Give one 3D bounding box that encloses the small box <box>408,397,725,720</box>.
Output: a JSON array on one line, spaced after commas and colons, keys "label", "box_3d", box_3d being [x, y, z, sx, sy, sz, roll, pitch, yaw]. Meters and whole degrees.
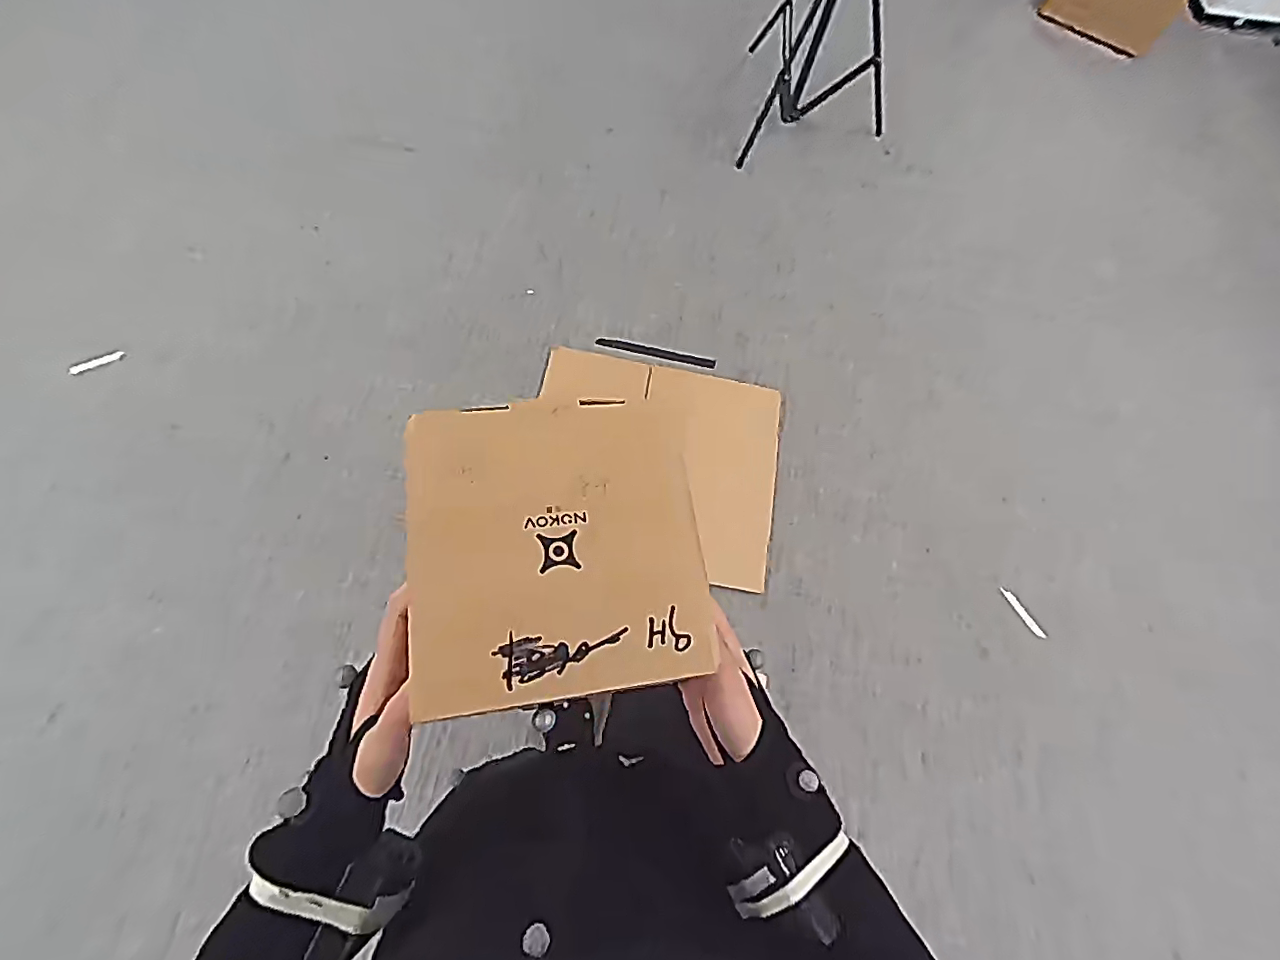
[{"label": "small box", "box_3d": [-0.057, 0.063, 0.381, 0.168, 0.176, 0.179, -6, 69, -10]}]
